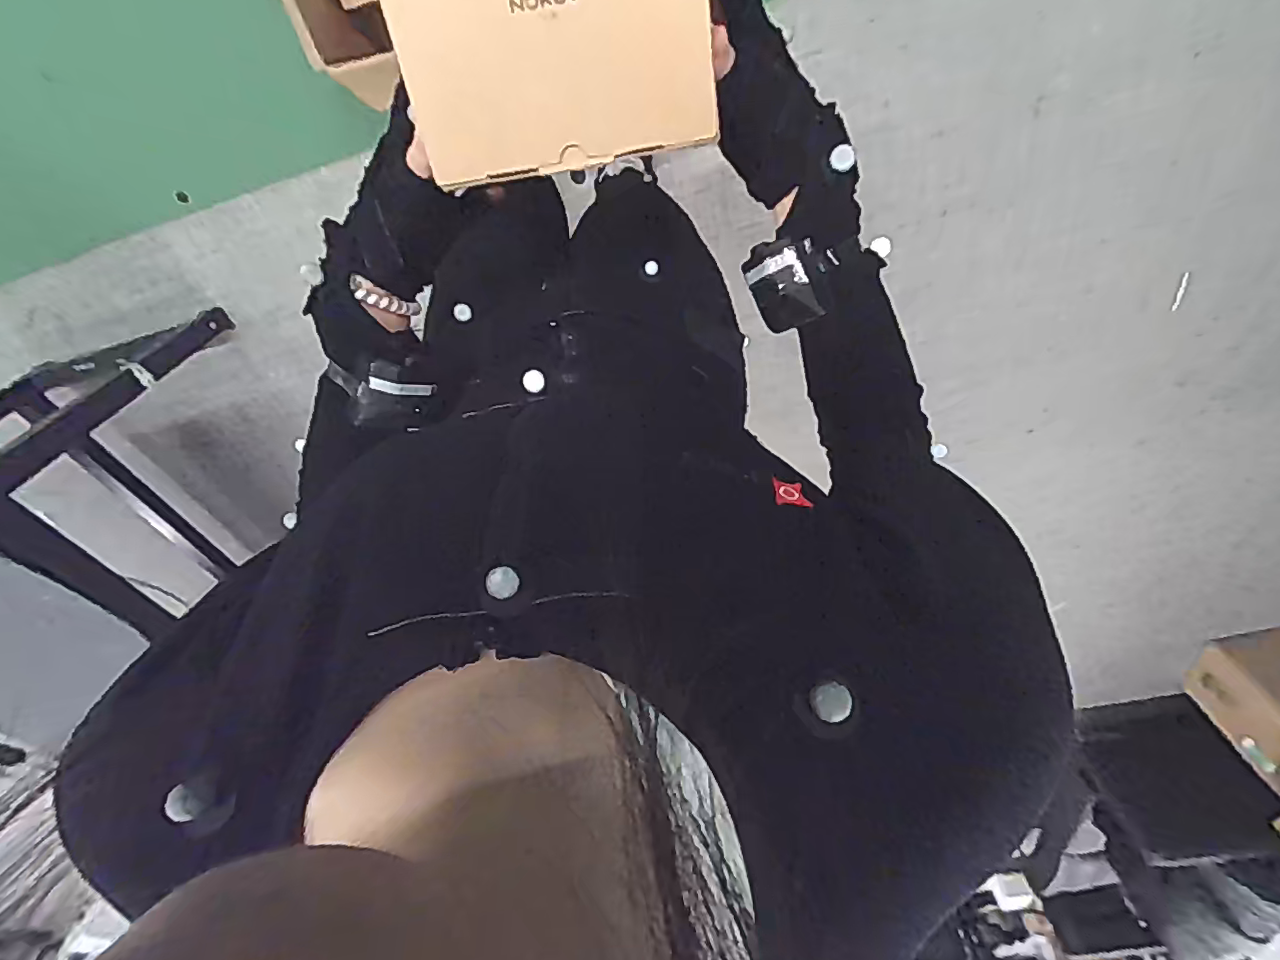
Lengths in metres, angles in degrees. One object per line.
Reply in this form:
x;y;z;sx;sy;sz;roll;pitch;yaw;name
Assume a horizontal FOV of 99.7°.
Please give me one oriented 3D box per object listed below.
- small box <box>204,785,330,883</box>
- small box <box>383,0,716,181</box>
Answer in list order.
-0.963;0.925;1.416;0.179;0.176;0.168;-11;129;8;small box
-0.050;-0.298;0.332;0.168;0.176;0.179;-8;122;5;small box
